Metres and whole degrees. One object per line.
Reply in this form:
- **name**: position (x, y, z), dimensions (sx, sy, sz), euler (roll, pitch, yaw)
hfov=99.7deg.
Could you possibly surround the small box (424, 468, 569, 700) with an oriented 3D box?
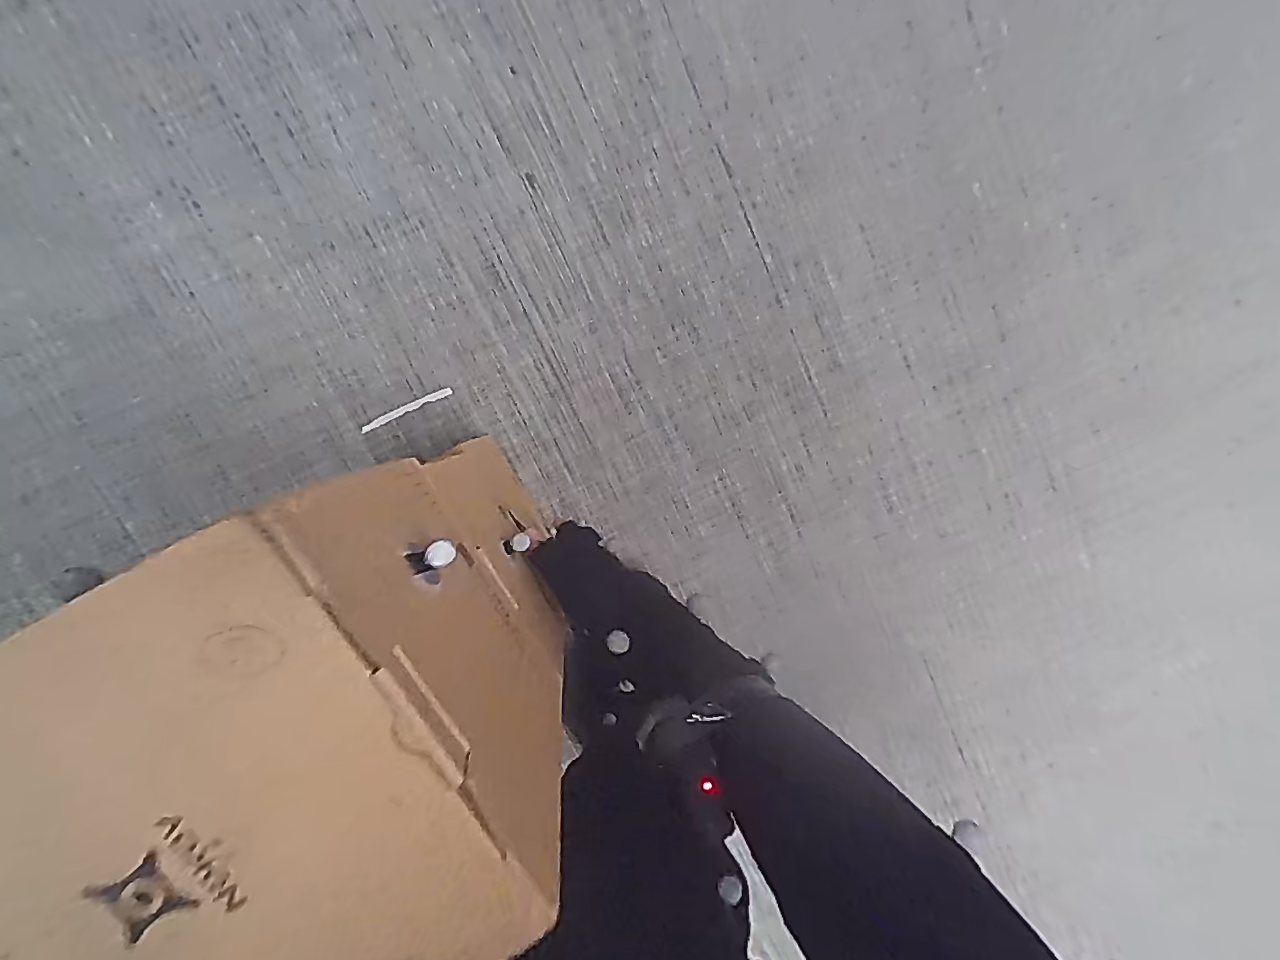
- **small box**: position (-0.169, 0.102, 0.406), dimensions (0.179, 0.176, 0.168), euler (-30, 98, -4)

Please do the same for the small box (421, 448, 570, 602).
- **small box**: position (-0.193, 0.078, 0.568), dimensions (0.179, 0.176, 0.168), euler (-35, 100, -3)

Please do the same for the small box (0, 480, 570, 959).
- **small box**: position (-0.148, 0.114, 0.248), dimensions (0.179, 0.176, 0.168), euler (-31, 99, -2)
